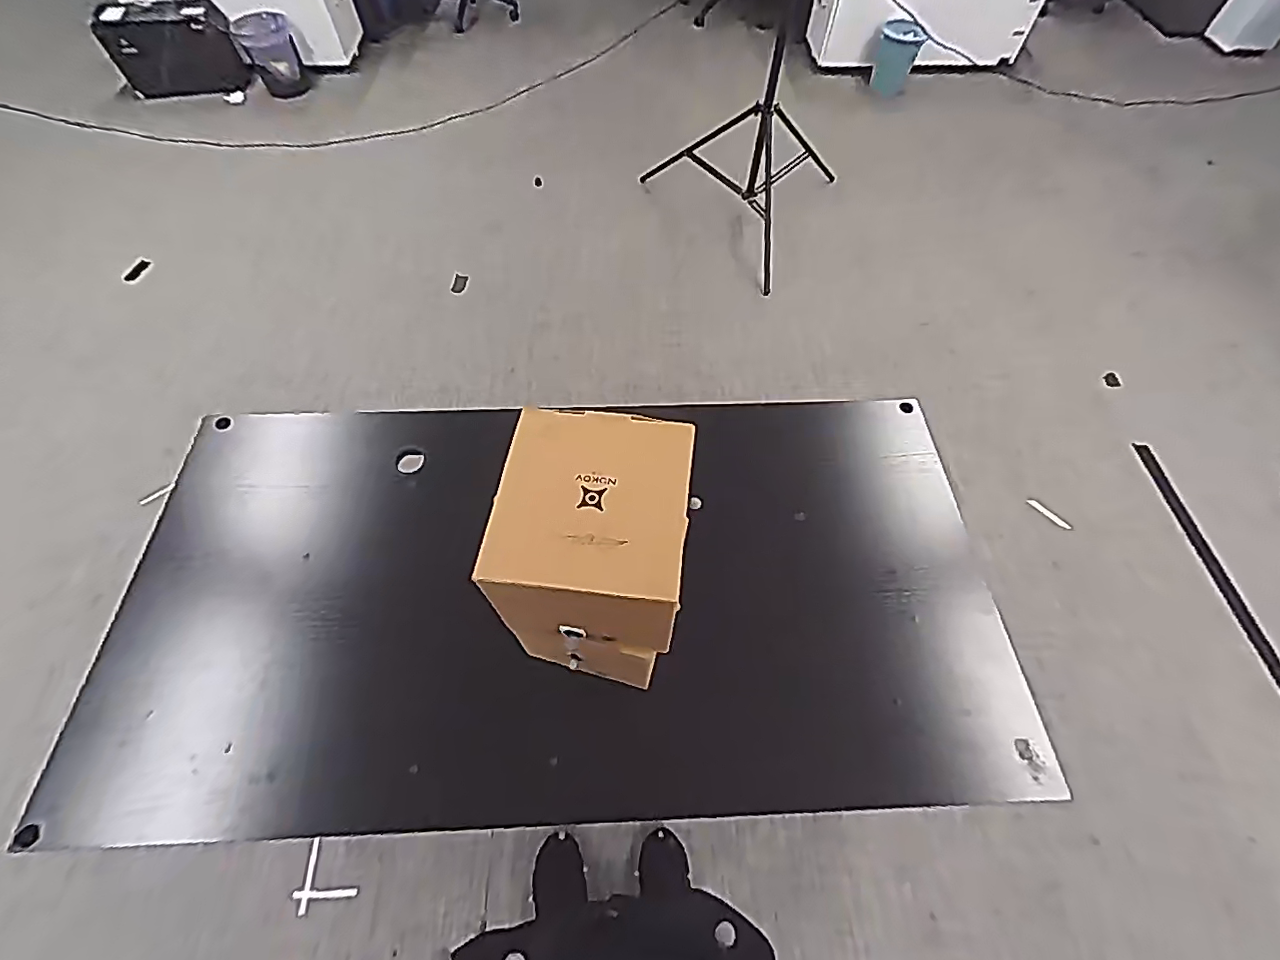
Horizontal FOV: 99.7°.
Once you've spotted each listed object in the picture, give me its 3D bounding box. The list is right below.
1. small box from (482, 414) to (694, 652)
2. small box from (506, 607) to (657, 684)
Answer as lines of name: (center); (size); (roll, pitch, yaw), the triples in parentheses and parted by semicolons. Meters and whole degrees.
small box: (-0.040, 0.058, 0.544); (0.168, 0.176, 0.179); (5, 60, 4)
small box: (-0.046, 0.140, 0.685); (0.168, 0.176, 0.179); (14, 59, 7)
